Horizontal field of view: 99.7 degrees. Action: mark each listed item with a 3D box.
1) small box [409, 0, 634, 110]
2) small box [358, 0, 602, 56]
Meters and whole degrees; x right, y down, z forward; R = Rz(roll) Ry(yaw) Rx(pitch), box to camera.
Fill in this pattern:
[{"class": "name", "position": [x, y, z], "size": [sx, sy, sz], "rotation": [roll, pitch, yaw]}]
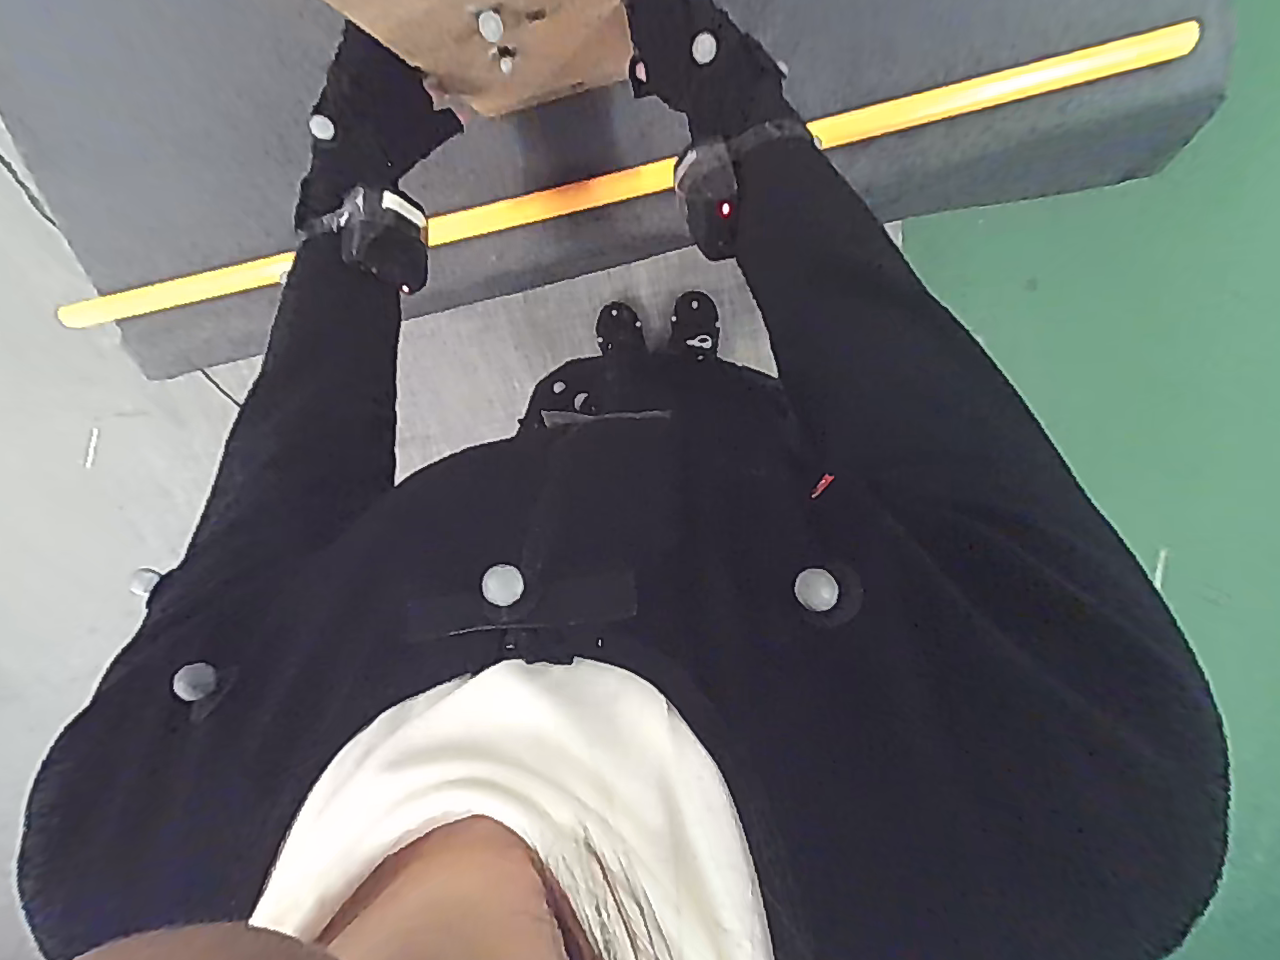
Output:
[{"class": "small box", "position": [-0.105, -0.442, 0.445], "size": [0.168, 0.176, 0.179], "rotation": [-10, 112, 9]}, {"class": "small box", "position": [-0.117, -0.379, 0.292], "size": [0.168, 0.176, 0.179], "rotation": [-11, 112, 8]}]
